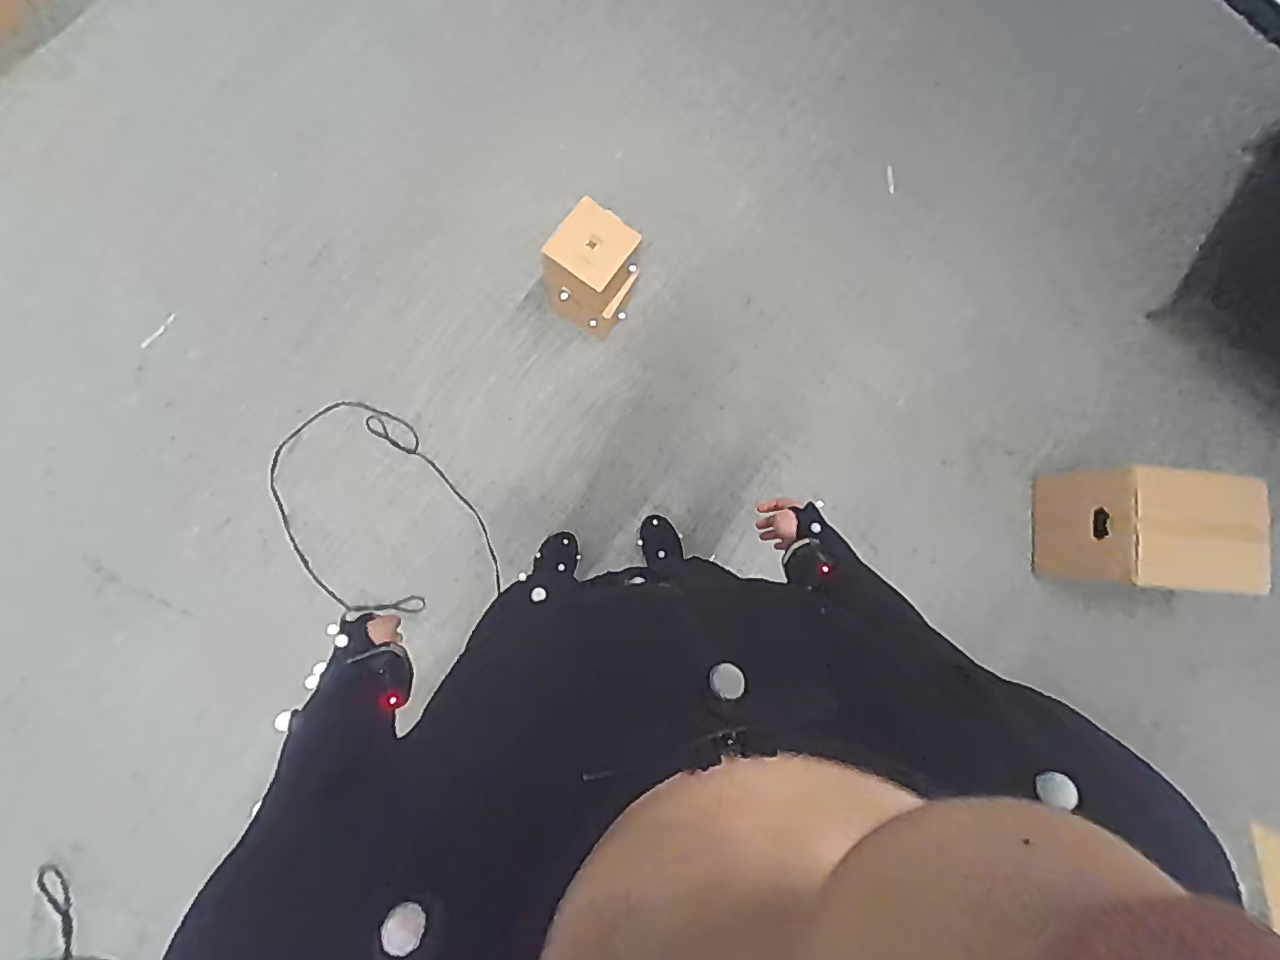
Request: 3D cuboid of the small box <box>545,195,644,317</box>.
[{"bbox_3d":[-0.114,-0.532,1.309,0.168,0.176,0.179,35,82,-3],"label":"small box"}]
